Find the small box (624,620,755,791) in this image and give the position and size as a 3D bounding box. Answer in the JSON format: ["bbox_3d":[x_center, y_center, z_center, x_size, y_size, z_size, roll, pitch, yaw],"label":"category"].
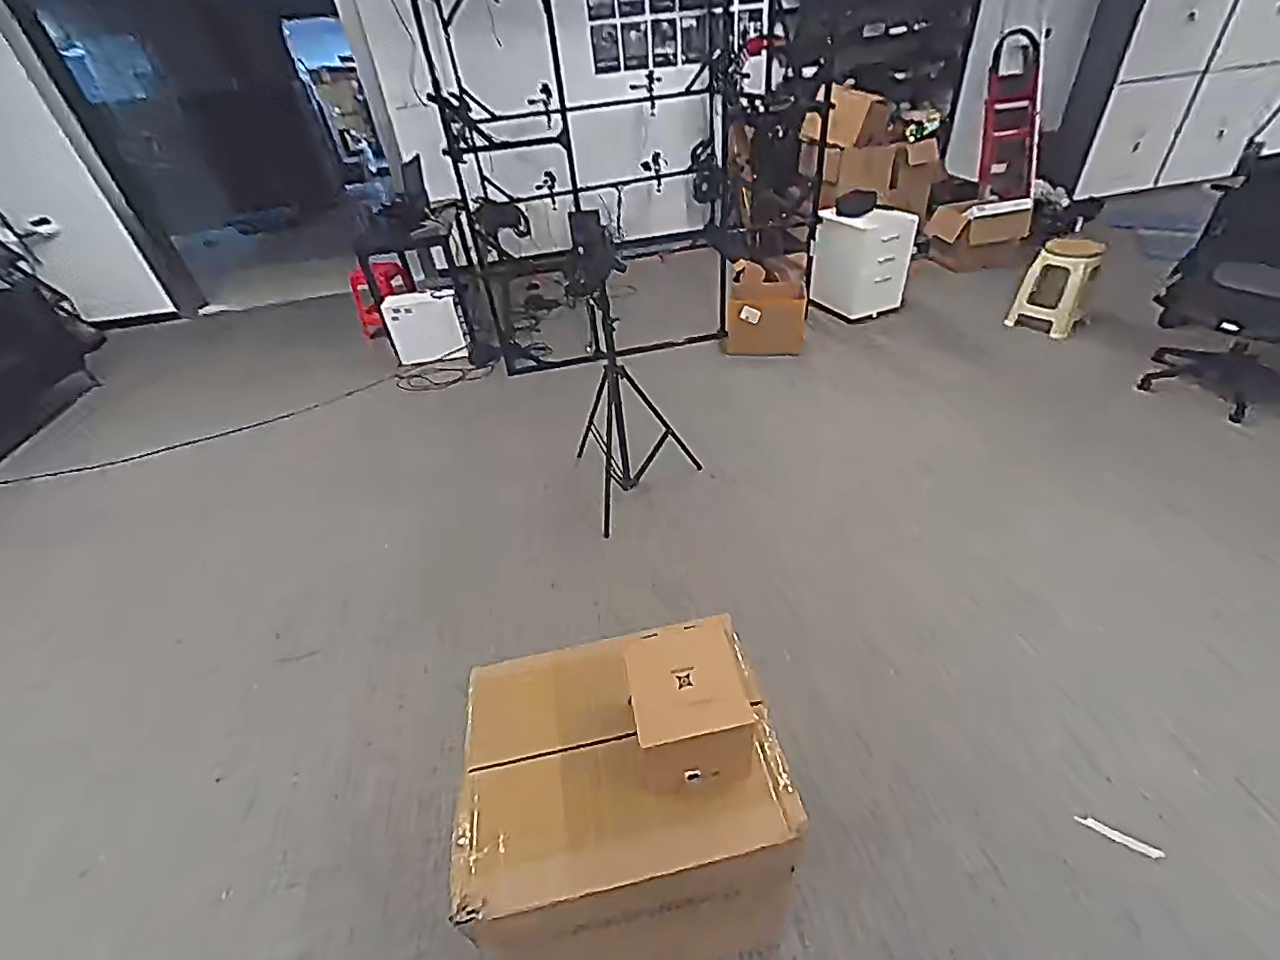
[{"bbox_3d":[0.075,0.358,0.863,0.168,0.176,0.179,-13,41,-4],"label":"small box"}]
